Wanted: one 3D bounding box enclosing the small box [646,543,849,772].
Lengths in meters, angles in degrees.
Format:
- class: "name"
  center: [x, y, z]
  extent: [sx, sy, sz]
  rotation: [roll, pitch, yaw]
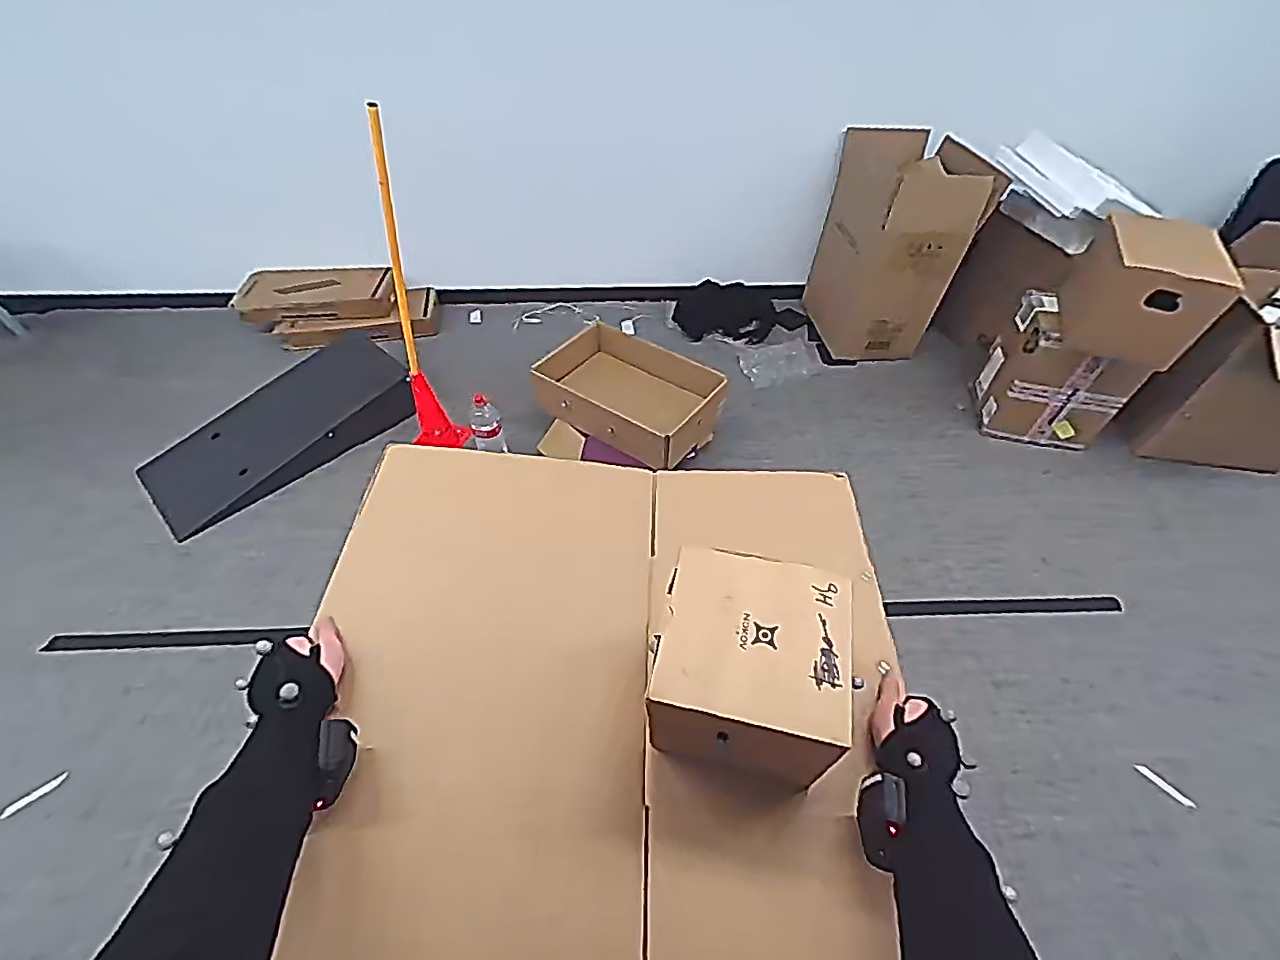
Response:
- class: "small box"
  center: [0.113, 0.192, 0.576]
  extent: [0.179, 0.176, 0.168]
  rotation: [9, 53, 11]
